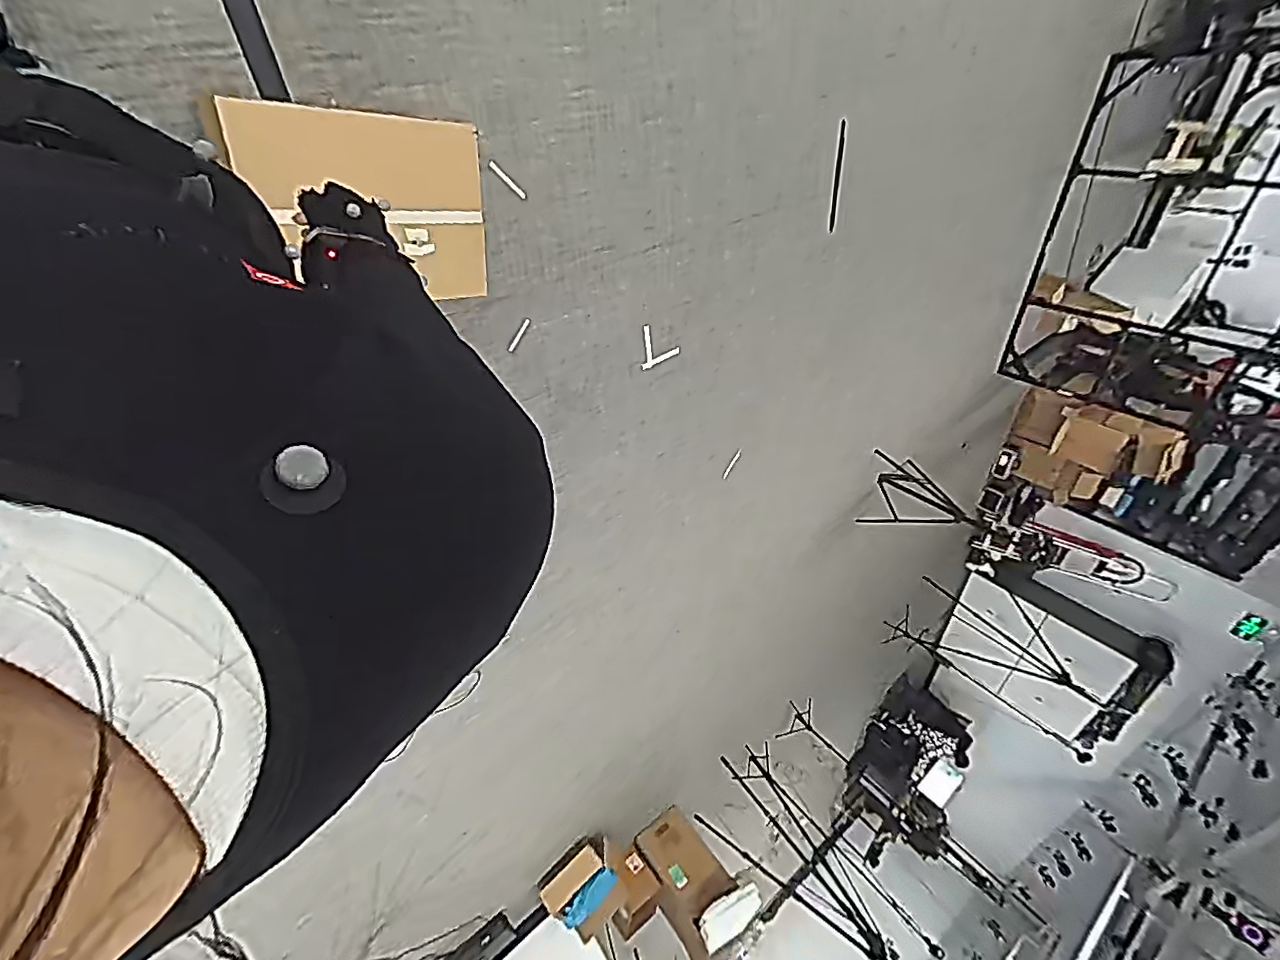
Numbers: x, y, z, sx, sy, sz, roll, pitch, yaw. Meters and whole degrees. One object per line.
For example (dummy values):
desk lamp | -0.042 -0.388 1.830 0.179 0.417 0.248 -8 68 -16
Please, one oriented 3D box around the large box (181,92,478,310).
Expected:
large box | -0.581 -0.543 1.054 0.408 0.320 0.320 -20 130 -36
